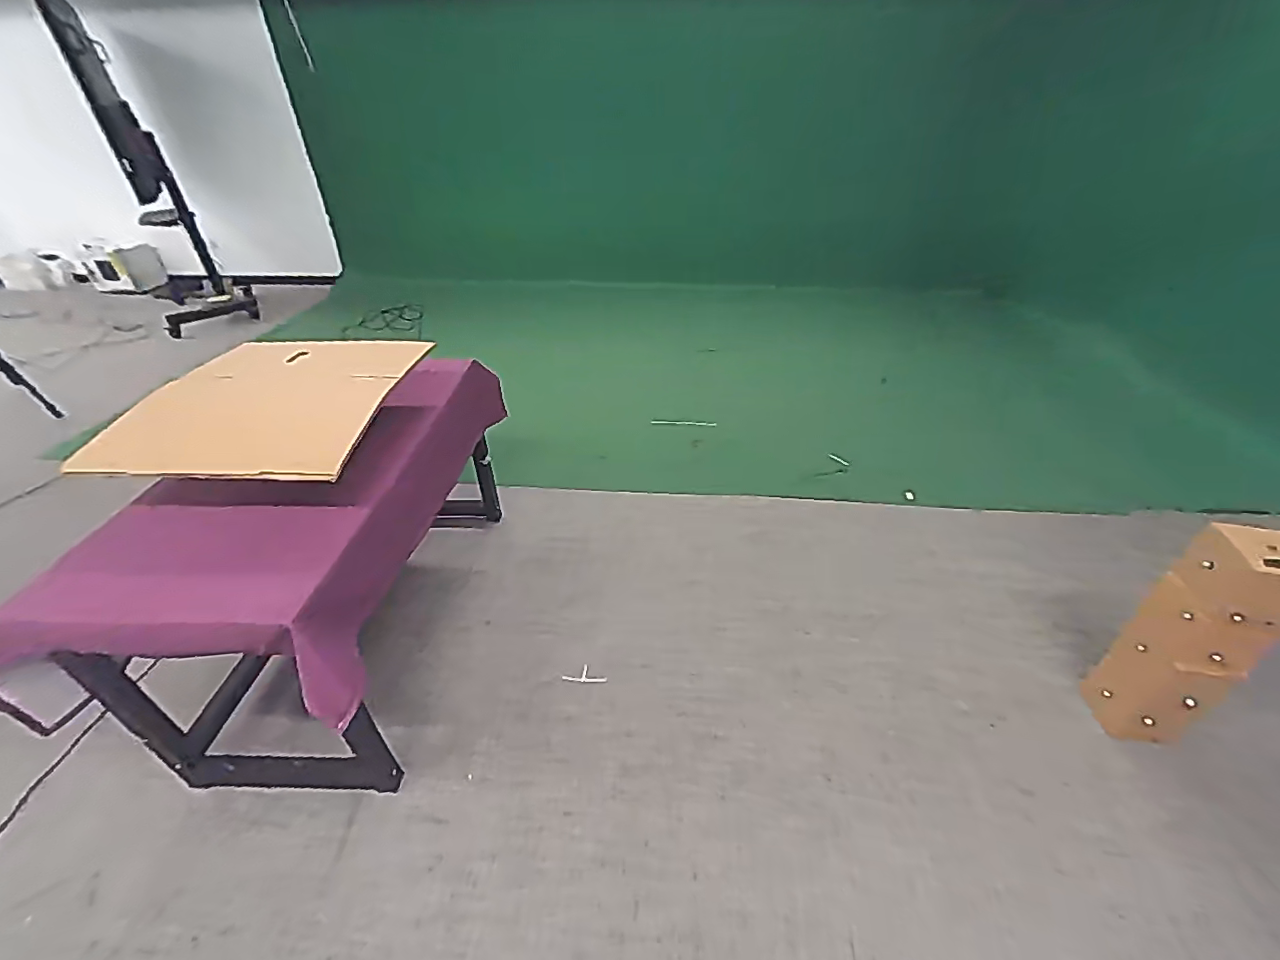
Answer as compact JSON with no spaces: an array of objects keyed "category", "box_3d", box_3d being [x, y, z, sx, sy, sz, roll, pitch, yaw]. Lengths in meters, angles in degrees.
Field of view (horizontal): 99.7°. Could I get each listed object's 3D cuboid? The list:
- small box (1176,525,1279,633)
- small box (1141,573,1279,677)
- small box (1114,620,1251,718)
[{"category":"small box","box_3d":[1.439,0.234,1.271,0.168,0.176,0.179,8,35,12]},{"category":"small box","box_3d":[1.438,0.366,1.370,0.168,0.176,0.179,6,37,10]},{"category":"small box","box_3d":[1.439,0.506,1.454,0.168,0.176,0.179,4,36,8]}]
